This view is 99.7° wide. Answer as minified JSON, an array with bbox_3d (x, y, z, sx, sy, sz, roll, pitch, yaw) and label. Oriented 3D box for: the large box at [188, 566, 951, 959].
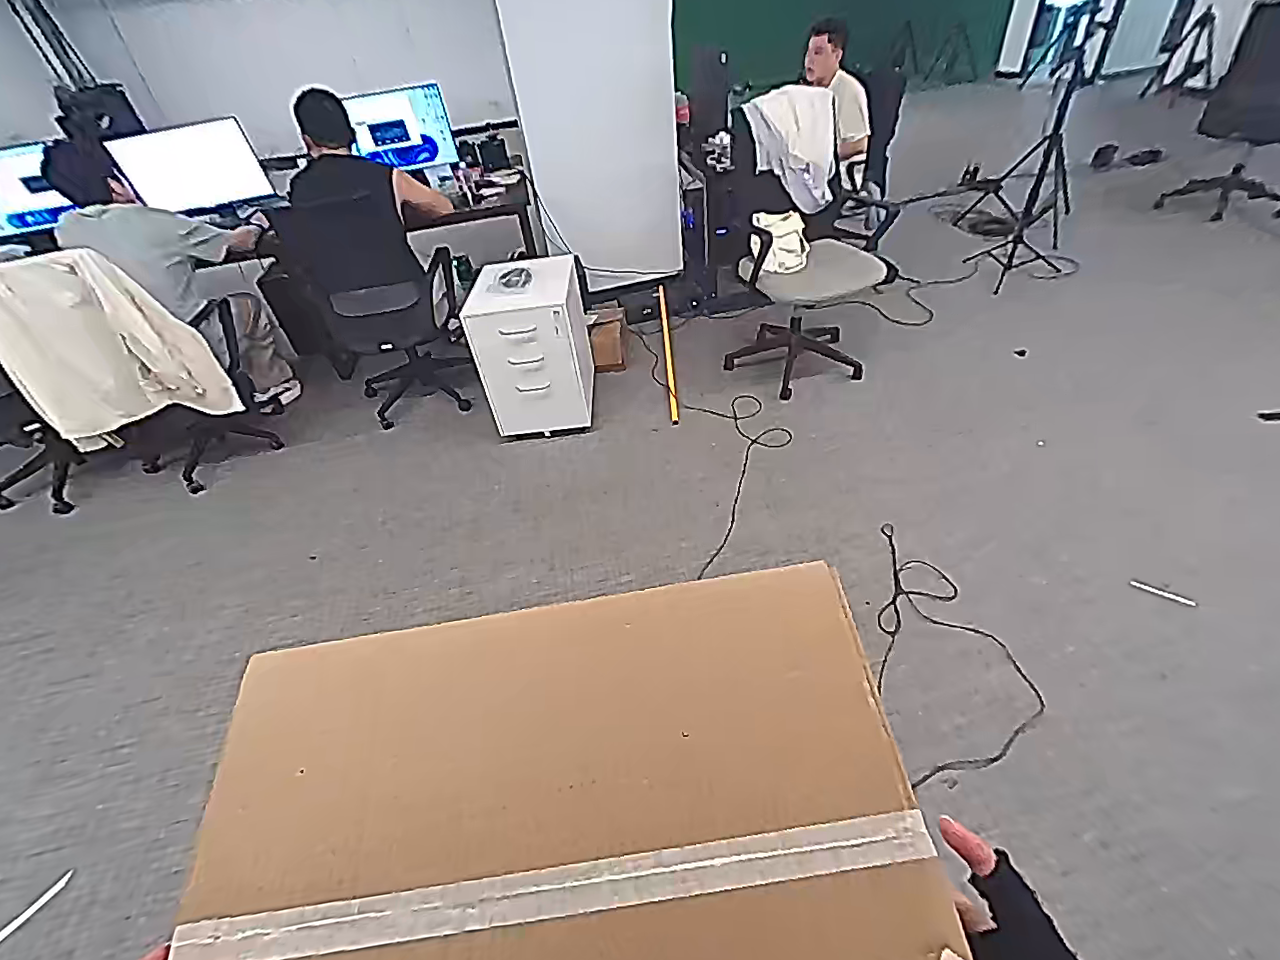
[{"bbox_3d":[-0.033,0.298,0.420,0.408,0.320,0.320,-10,56,2],"label":"large box"}]
